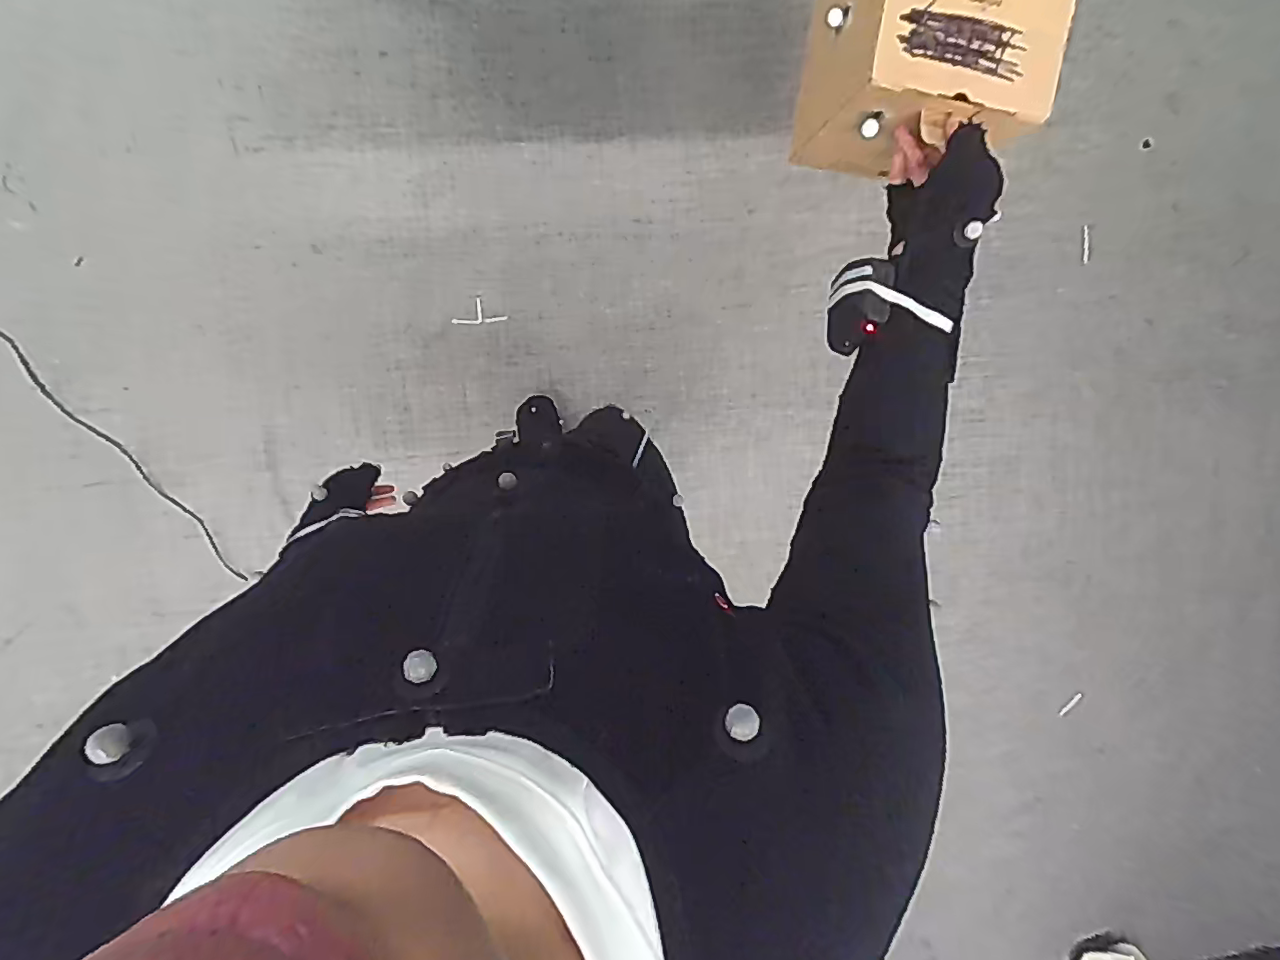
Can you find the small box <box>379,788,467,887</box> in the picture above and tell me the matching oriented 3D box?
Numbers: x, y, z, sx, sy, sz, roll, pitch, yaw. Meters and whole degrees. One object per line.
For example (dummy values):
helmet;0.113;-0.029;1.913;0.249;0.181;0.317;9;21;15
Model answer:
small box;-0.571;0.952;1.440;0.168;0.176;0.179;-6;95;-4
